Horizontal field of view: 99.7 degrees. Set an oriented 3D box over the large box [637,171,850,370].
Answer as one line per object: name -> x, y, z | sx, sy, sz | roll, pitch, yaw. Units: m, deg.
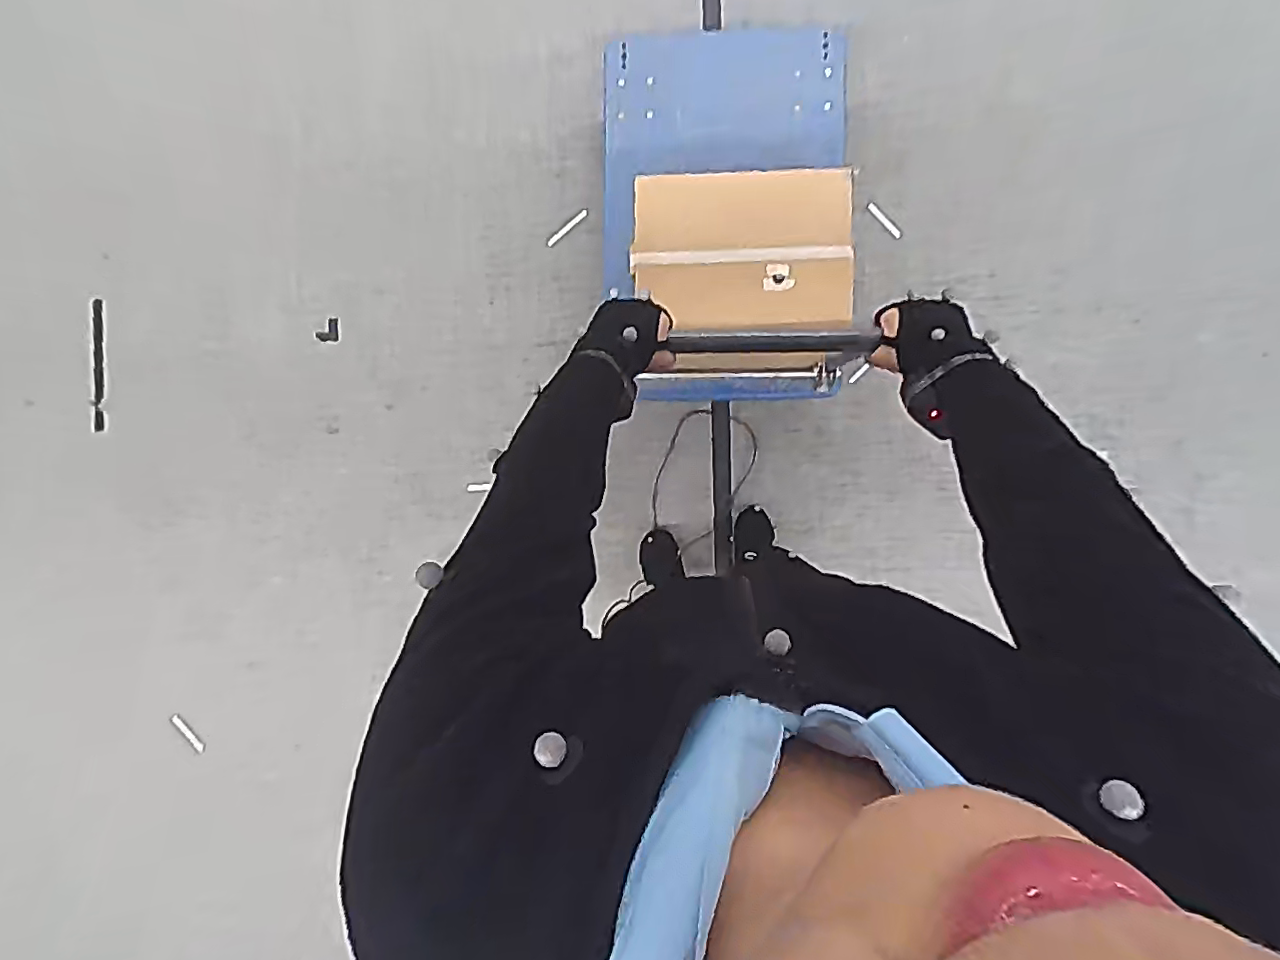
large box -> 0.202, -0.426, 1.175 | 0.408, 0.320, 0.320 | 0, 92, 3
